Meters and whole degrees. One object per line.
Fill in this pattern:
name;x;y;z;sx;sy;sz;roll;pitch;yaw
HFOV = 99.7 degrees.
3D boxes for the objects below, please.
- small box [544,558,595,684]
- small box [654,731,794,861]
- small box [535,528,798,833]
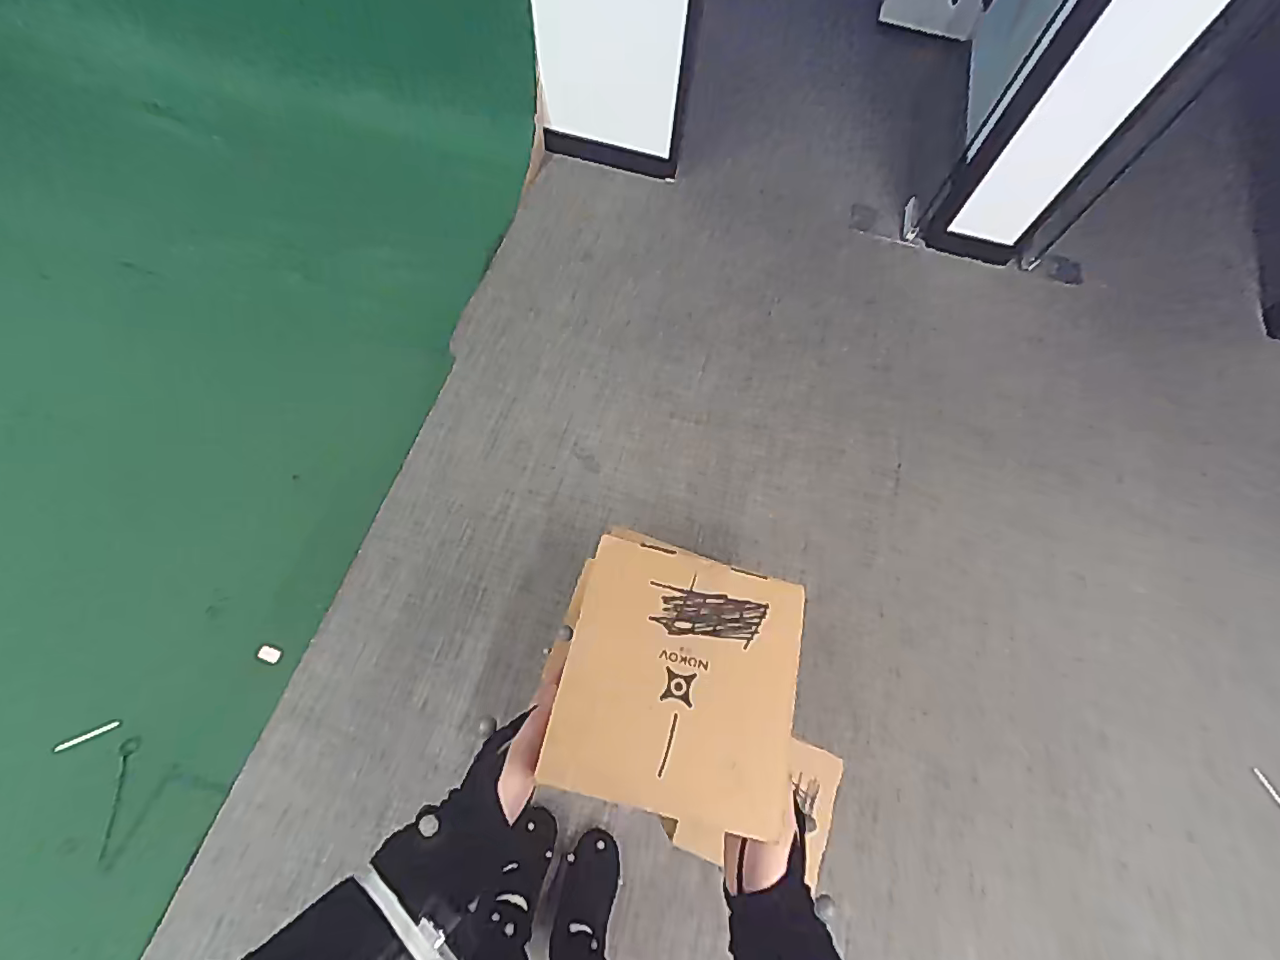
small box;-0.028;0.240;0.795;0.168;0.176;0.179;19;66;4
small box;0.126;0.473;0.878;0.168;0.176;0.179;21;65;5
small box;0.017;0.166;0.460;0.168;0.176;0.179;15;65;0
